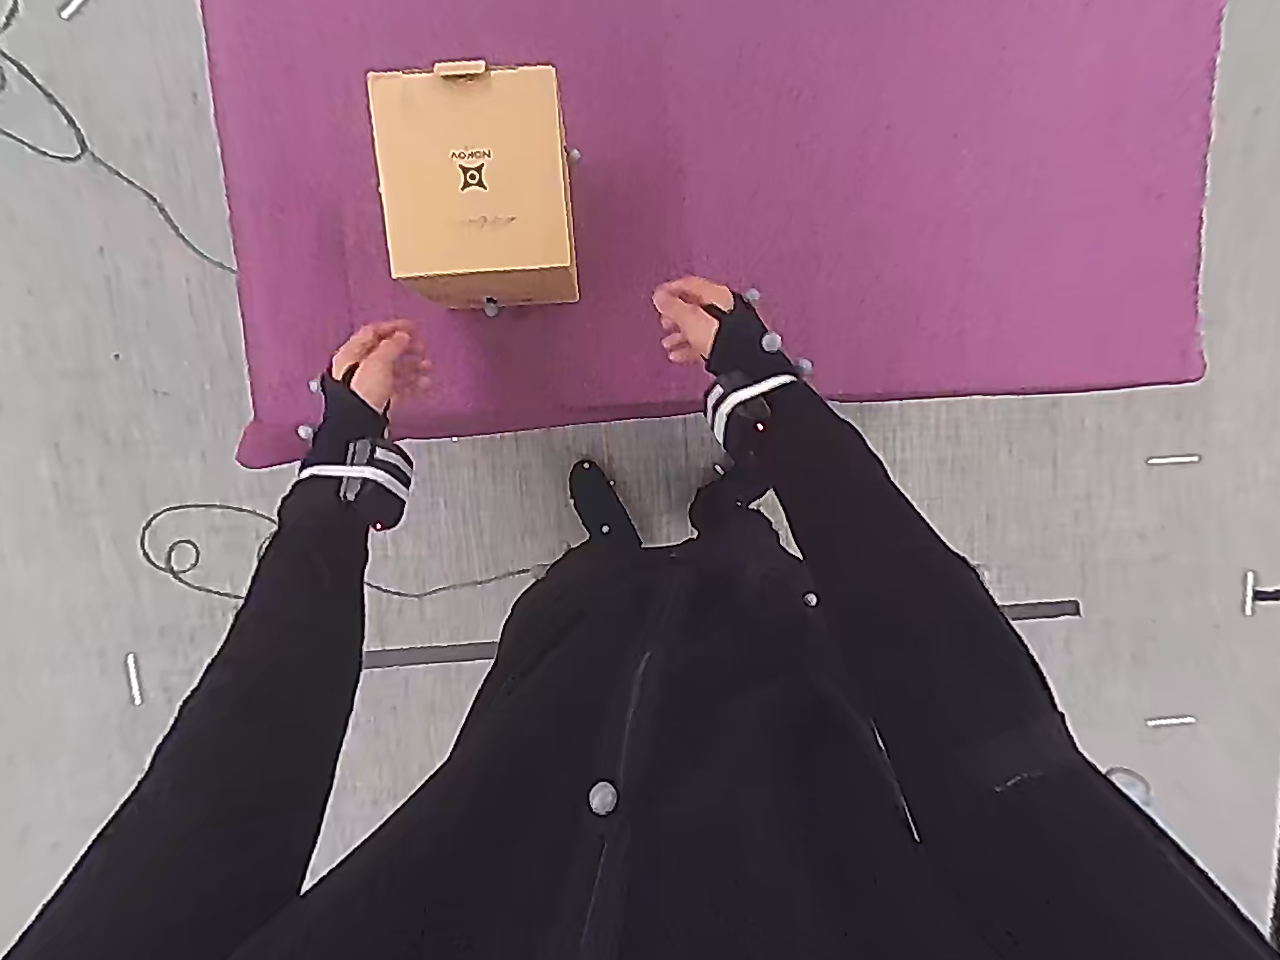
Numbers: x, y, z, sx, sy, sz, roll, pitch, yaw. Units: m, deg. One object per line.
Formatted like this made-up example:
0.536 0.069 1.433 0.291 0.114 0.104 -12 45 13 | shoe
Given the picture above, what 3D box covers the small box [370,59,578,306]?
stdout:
-0.154 -0.288 0.558 0.168 0.176 0.179 -4 98 -3 | small box
